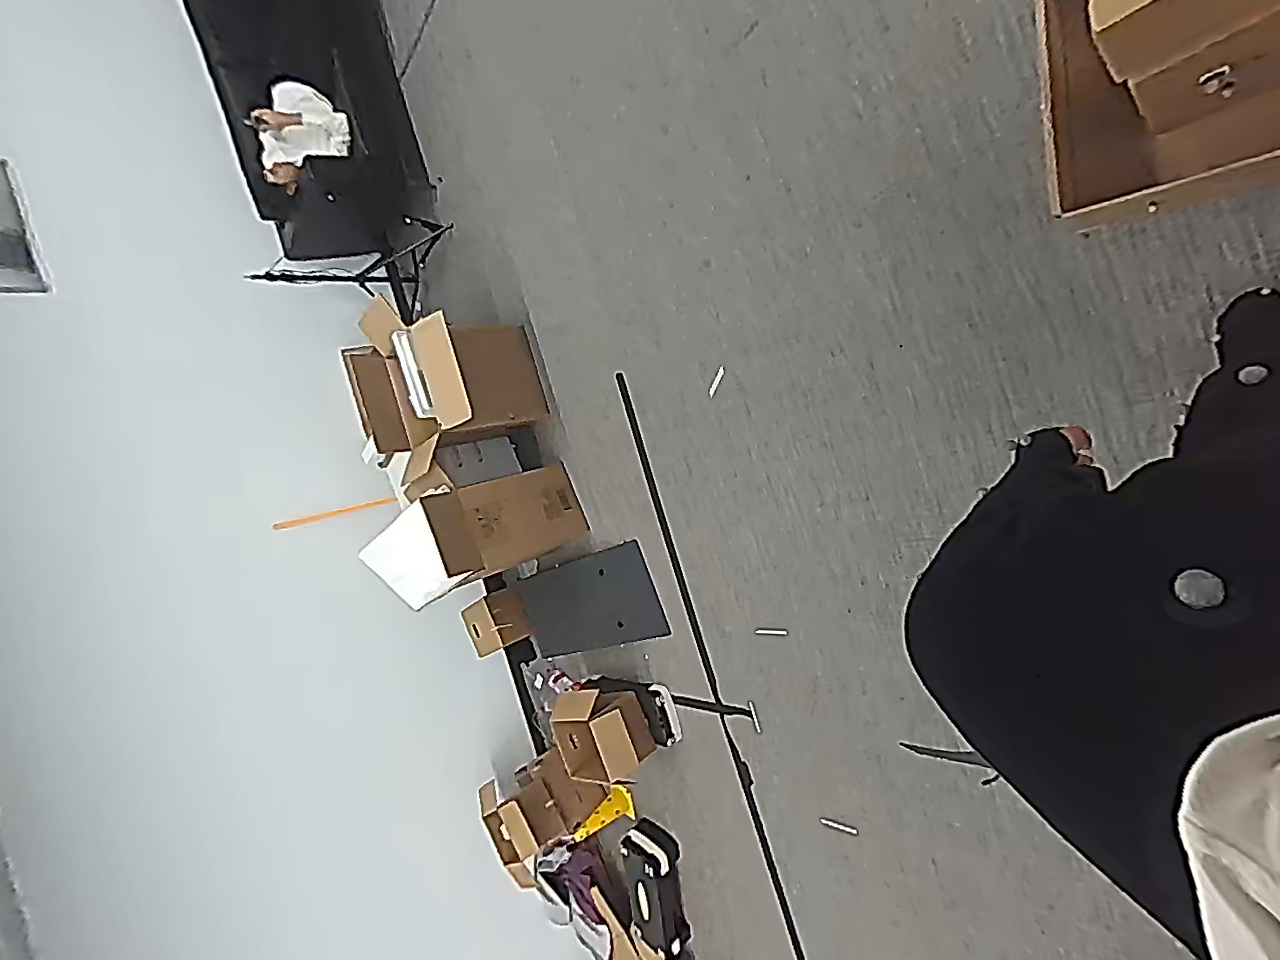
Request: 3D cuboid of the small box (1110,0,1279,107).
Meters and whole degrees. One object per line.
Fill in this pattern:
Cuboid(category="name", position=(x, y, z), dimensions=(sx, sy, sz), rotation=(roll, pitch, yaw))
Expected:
Cuboid(category="small box", position=(0.652, -0.572, 0.613), dimensions=(0.168, 0.176, 0.179), rotation=(-10, 95, 50))

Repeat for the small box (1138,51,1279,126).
Cuboid(category="small box", position=(0.777, -0.608, 0.713), dimensions=(0.179, 0.176, 0.168), rotation=(-7, 98, 48))
